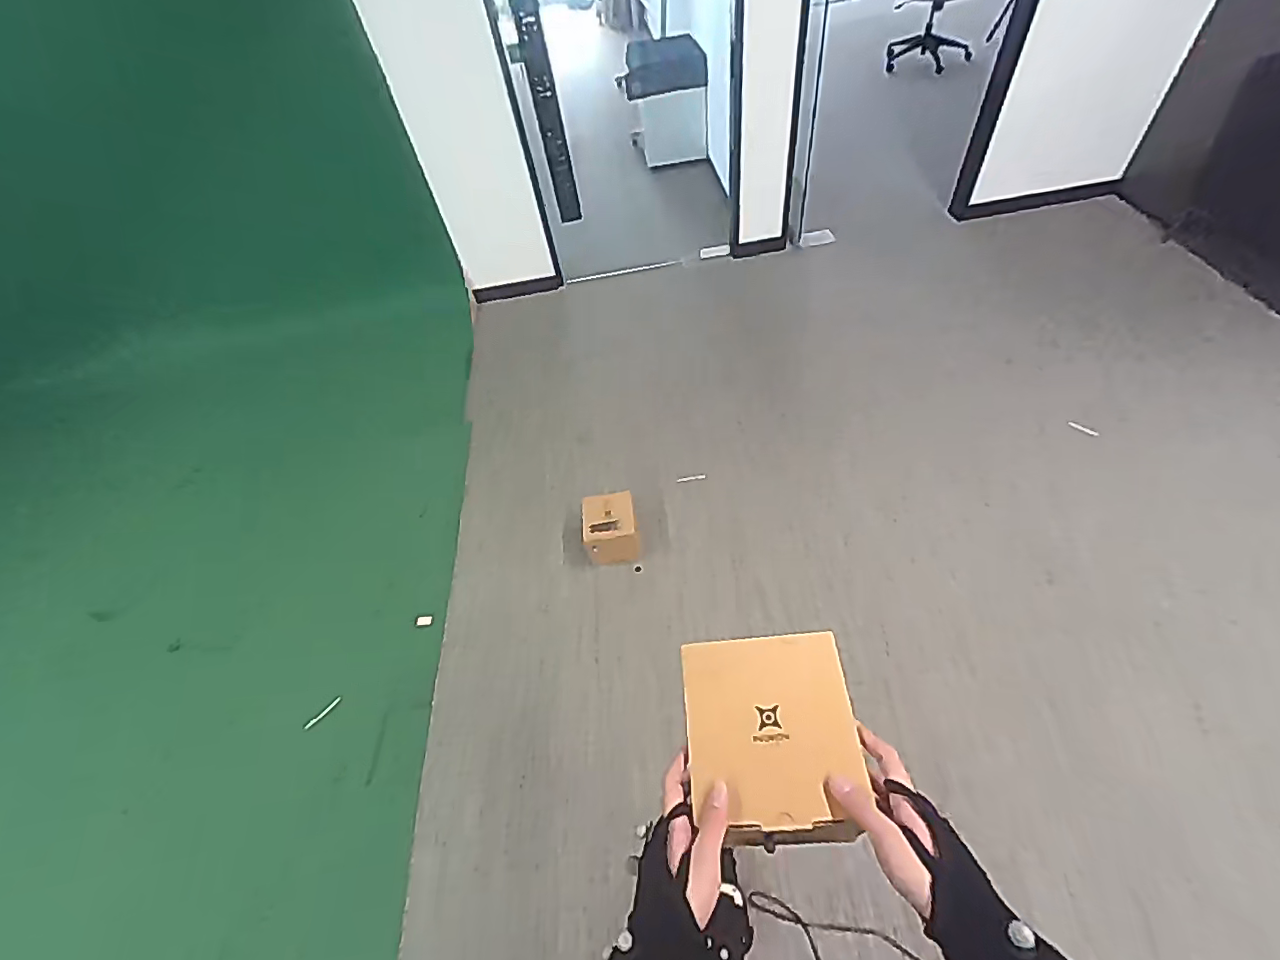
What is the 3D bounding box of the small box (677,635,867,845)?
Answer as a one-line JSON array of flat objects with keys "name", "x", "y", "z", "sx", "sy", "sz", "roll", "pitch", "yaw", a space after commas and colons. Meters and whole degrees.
[{"name": "small box", "x": 0.134, "y": 0.292, "z": 0.601, "sx": 0.168, "sy": 0.176, "sz": 0.179, "roll": -7, "pitch": 52, "yaw": 7}]
